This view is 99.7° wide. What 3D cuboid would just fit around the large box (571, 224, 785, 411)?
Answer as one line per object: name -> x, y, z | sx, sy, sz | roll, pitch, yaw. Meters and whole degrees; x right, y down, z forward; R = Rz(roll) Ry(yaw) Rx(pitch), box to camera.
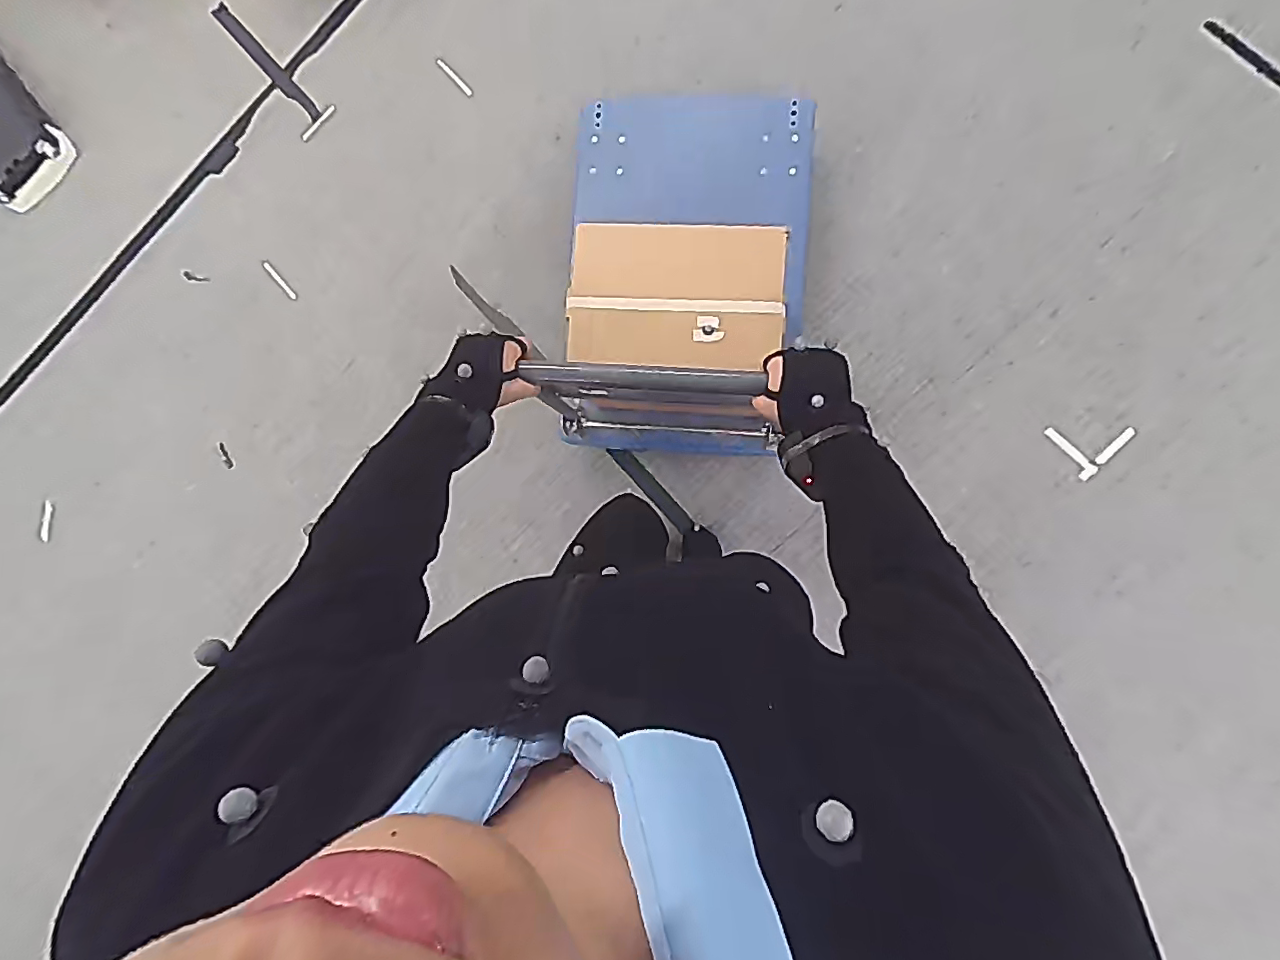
large box -> 0.079, -0.330, 1.176 | 0.408, 0.320, 0.320 | 4, 90, 5
